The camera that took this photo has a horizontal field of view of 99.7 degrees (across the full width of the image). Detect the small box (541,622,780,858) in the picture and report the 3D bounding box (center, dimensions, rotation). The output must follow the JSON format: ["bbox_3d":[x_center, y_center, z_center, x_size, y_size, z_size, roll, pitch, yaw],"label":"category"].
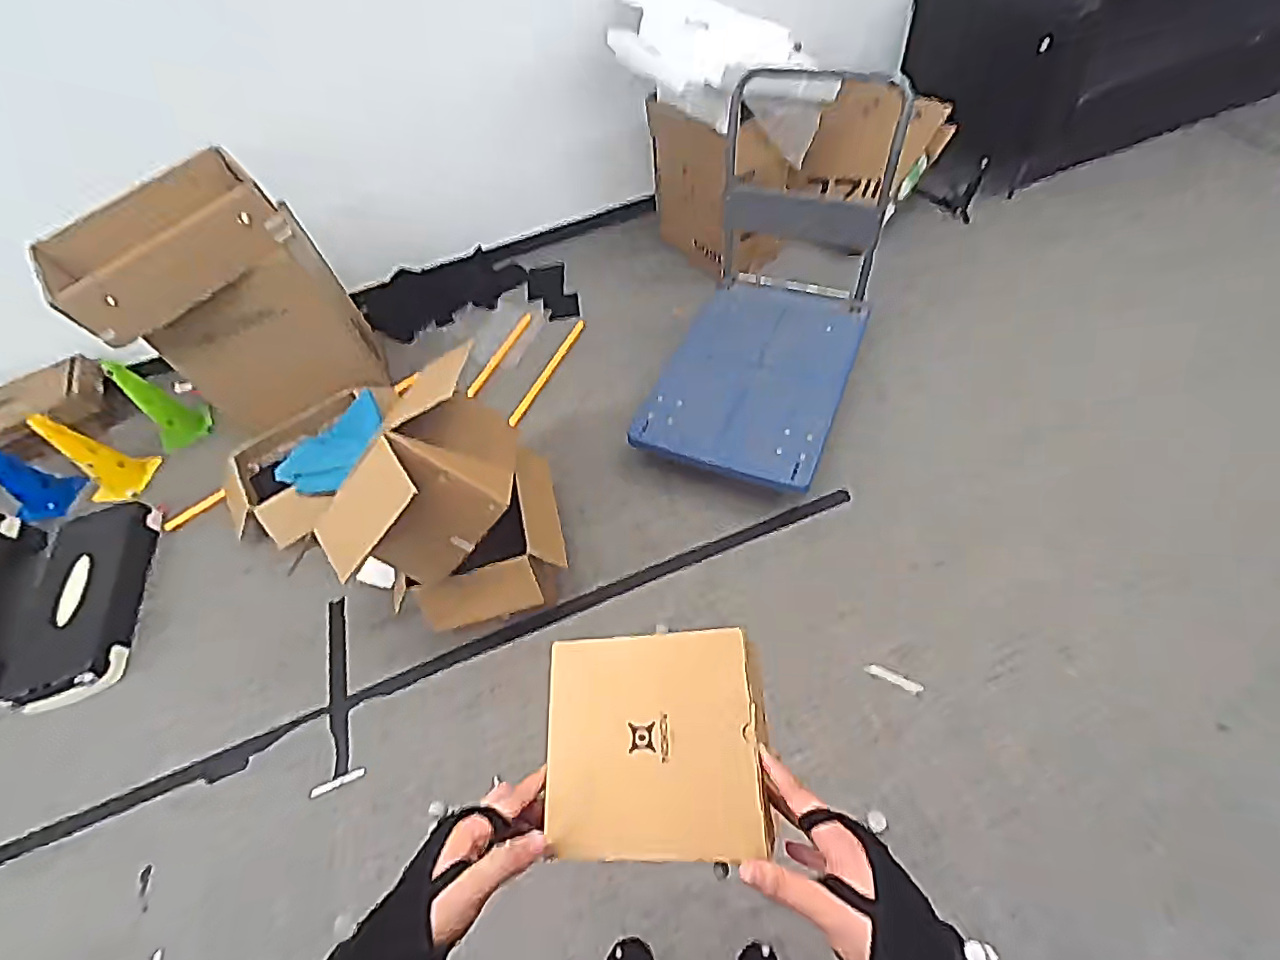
[{"bbox_3d":[0.028,0.237,0.496,0.179,0.176,0.168,-8,61,12],"label":"small box"}]
